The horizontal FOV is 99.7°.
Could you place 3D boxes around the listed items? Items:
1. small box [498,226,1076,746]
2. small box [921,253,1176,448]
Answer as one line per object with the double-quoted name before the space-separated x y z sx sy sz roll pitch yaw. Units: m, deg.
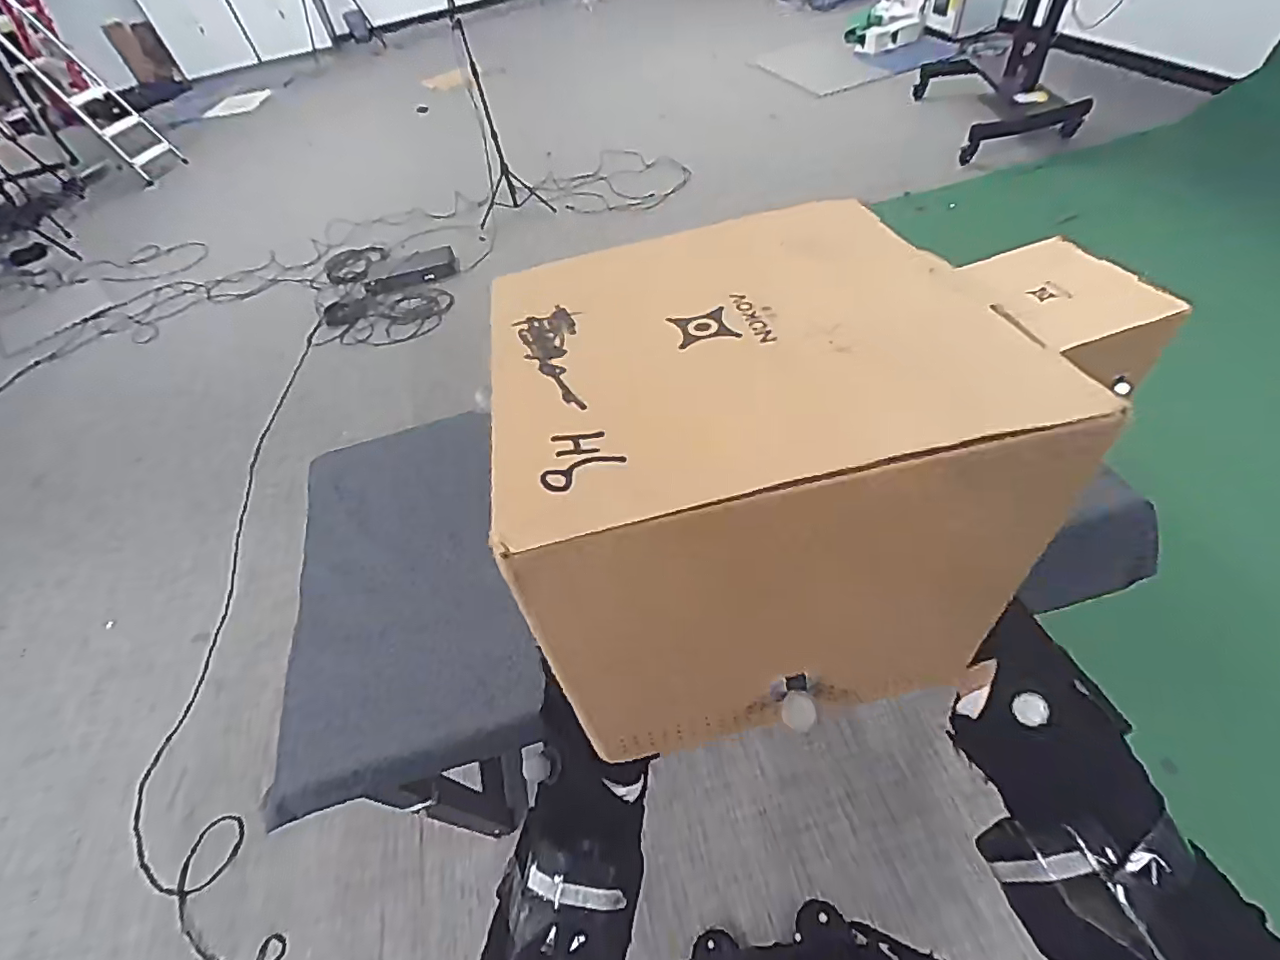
"small box" 0.040 0.003 0.265 0.179 0.176 0.168 -12 44 -3
"small box" 0.429 -0.127 0.627 0.179 0.176 0.168 -19 48 -4
